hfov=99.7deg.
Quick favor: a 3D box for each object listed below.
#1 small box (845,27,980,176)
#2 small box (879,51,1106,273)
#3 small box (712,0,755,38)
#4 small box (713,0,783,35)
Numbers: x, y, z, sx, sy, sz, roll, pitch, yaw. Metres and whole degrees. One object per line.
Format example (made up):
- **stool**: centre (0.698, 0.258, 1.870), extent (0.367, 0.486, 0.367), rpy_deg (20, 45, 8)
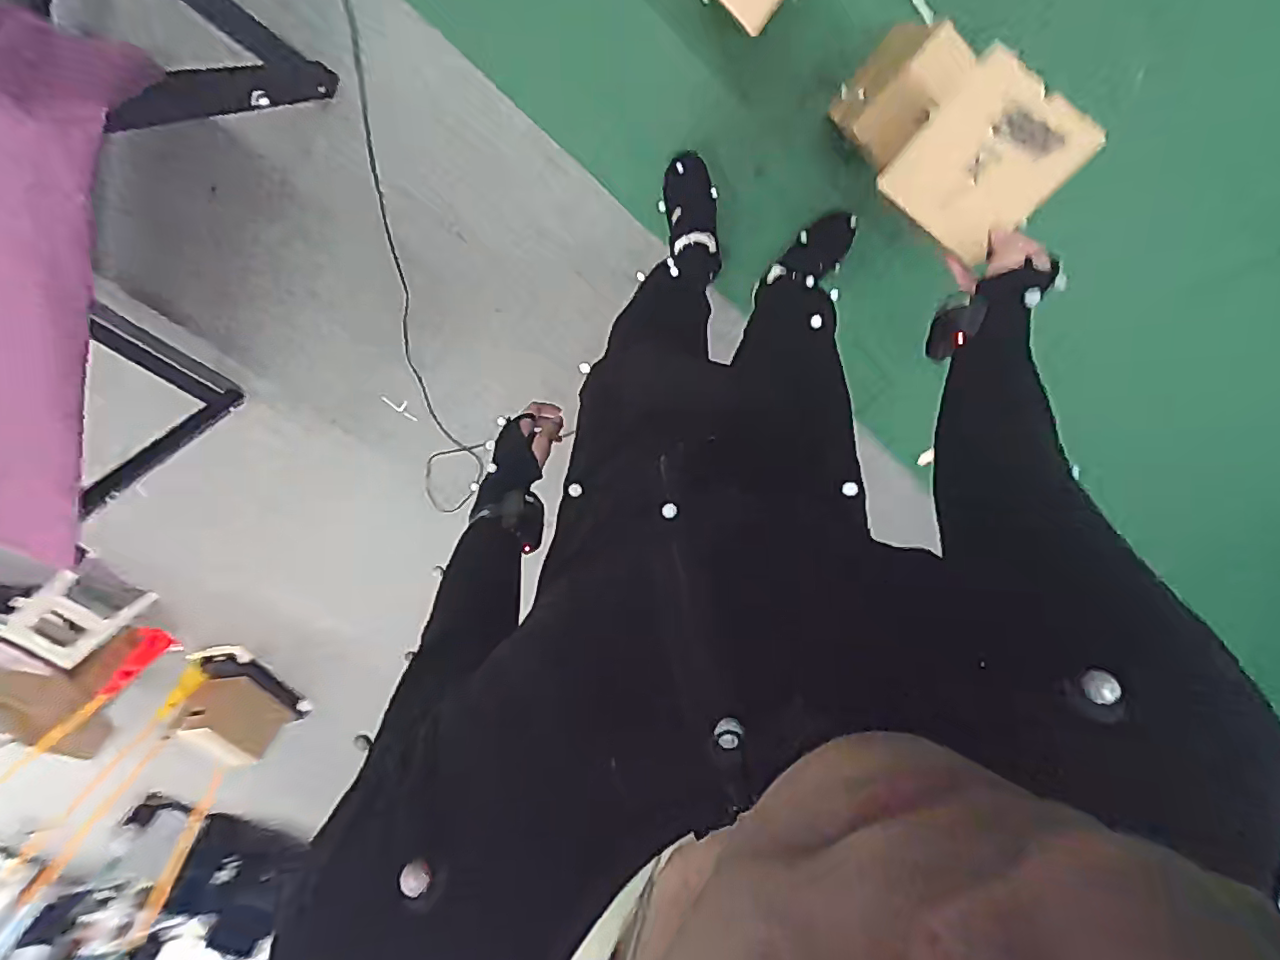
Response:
- **small box**: centre (0.475, -0.630, 0.933), extent (0.168, 0.176, 0.179), rpy_deg (35, 126, -18)
- **small box**: centre (0.440, -0.398, 0.712), extent (0.168, 0.176, 0.179), rpy_deg (45, 121, 4)
- **small box**: centre (0.199, -0.930, 0.958), extent (0.168, 0.176, 0.179), rpy_deg (36, 125, -17)
- **small box**: centre (0.170, -0.828, 0.832), extent (0.179, 0.176, 0.168), rpy_deg (36, 126, -17)
